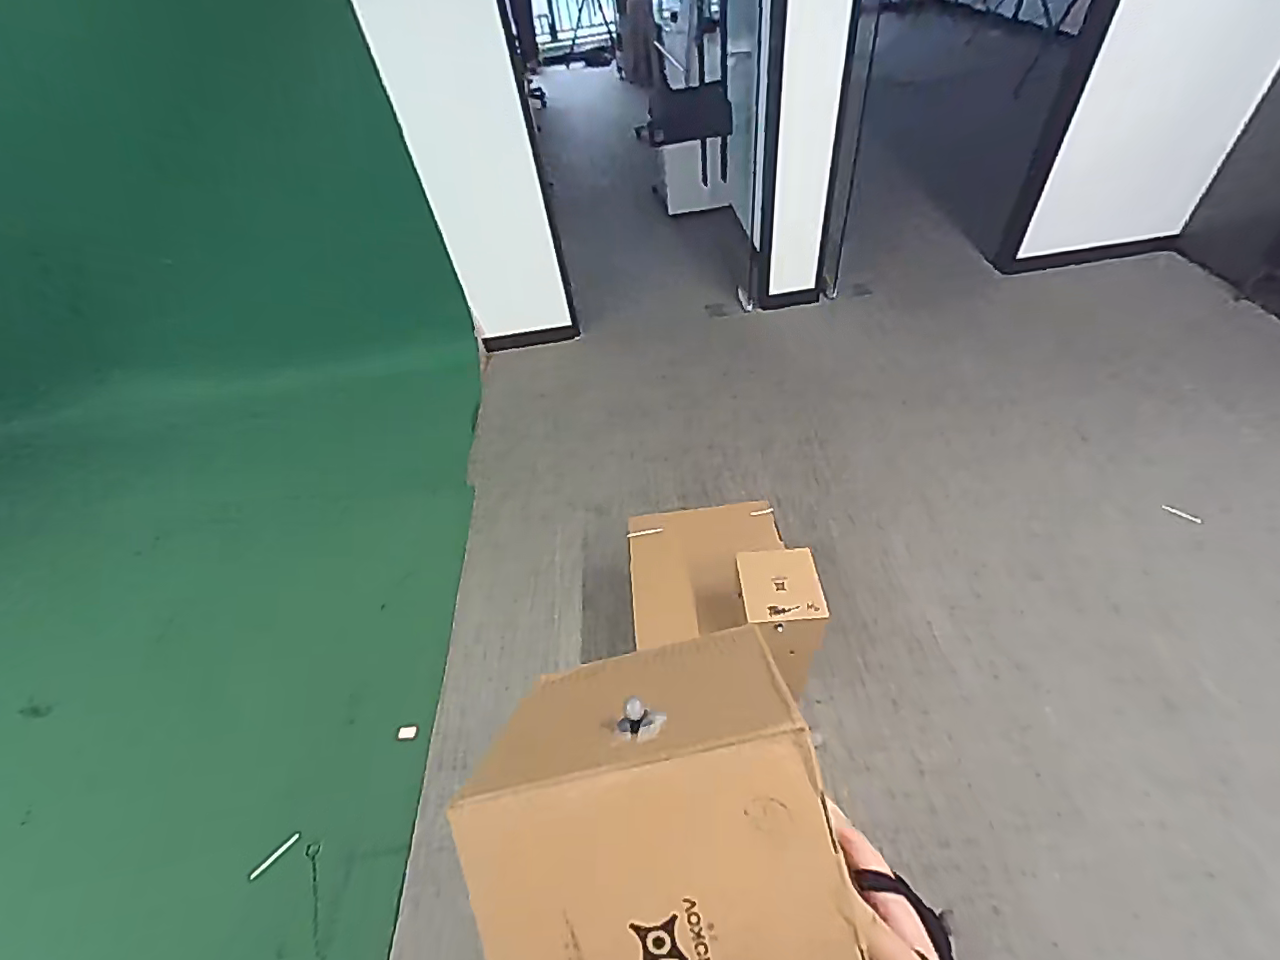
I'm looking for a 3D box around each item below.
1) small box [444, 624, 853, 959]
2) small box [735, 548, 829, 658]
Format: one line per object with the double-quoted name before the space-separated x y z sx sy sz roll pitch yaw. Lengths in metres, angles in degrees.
"small box" 0.011 0.203 0.337 0.179 0.176 0.168 -14 90 5
"small box" 0.304 0.274 1.198 0.168 0.176 0.179 -5 46 4
